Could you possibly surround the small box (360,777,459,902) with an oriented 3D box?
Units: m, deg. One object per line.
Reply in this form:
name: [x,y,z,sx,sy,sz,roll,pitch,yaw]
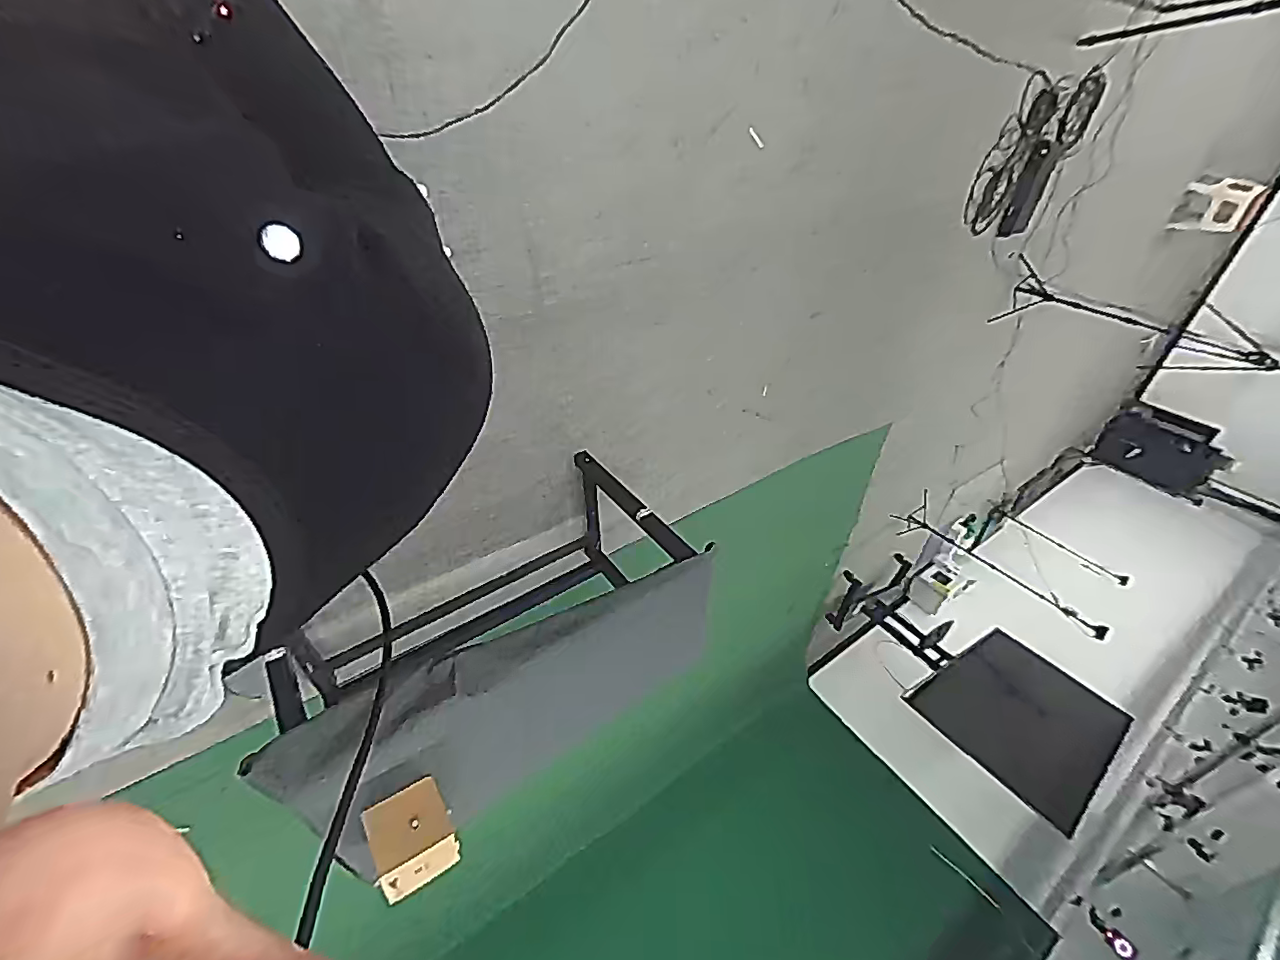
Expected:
small box: [-0.579,0.897,1.364,0.179,0.176,0.168,-19,132,-32]
